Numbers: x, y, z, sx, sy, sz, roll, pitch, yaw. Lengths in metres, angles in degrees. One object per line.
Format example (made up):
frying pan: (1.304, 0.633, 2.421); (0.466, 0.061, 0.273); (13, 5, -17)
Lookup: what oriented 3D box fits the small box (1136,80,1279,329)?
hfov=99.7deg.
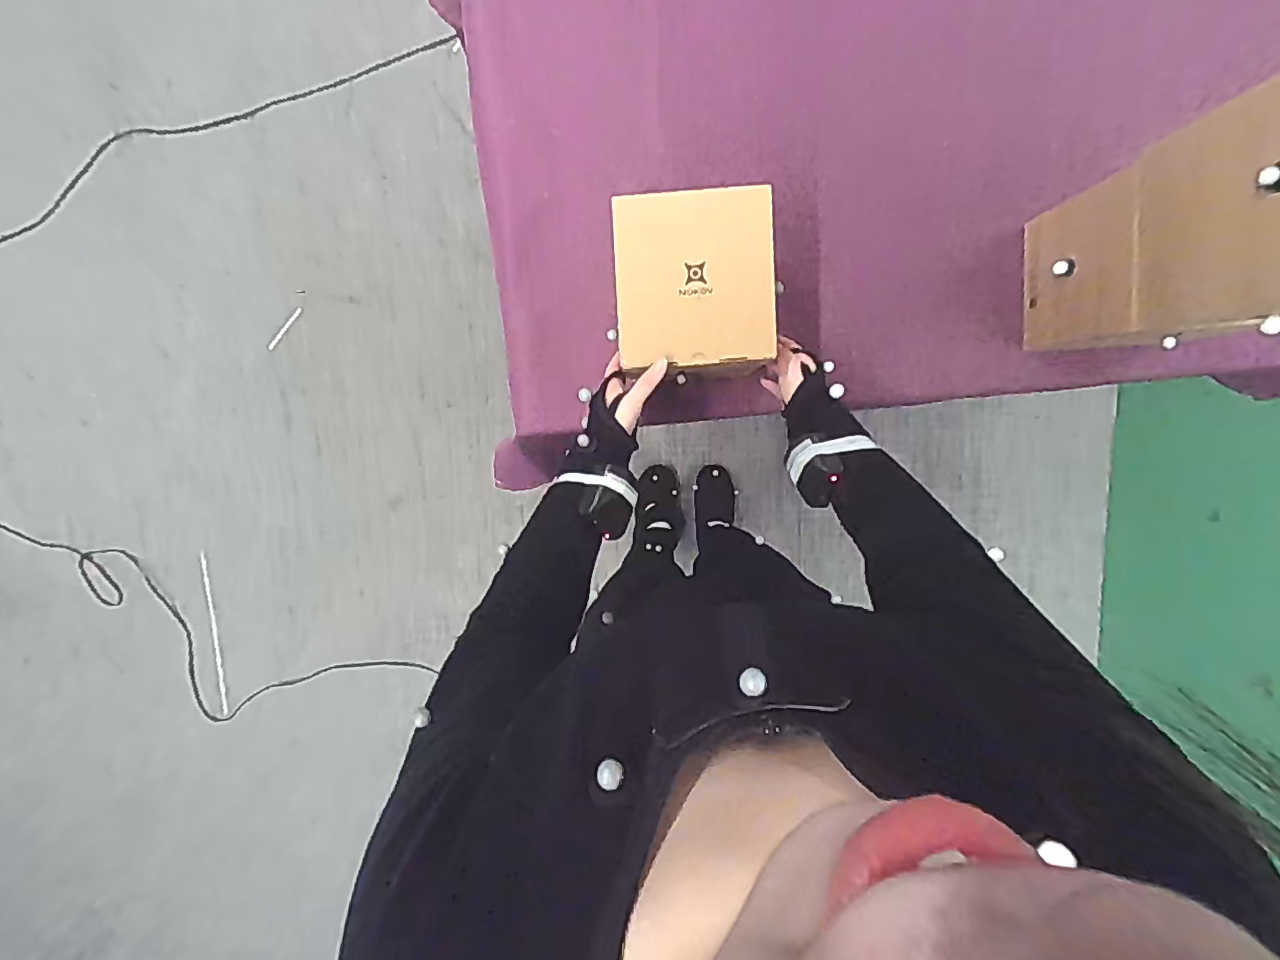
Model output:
small box: (0.568, -0.236, 0.452); (0.168, 0.176, 0.179); (-6, 96, 3)

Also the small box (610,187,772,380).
small box: (0.055, -0.217, 0.639); (0.168, 0.176, 0.179); (-4, 96, 2)

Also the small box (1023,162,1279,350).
small box: (0.575, -0.244, 0.617); (0.179, 0.176, 0.168); (-3, 96, 2)
